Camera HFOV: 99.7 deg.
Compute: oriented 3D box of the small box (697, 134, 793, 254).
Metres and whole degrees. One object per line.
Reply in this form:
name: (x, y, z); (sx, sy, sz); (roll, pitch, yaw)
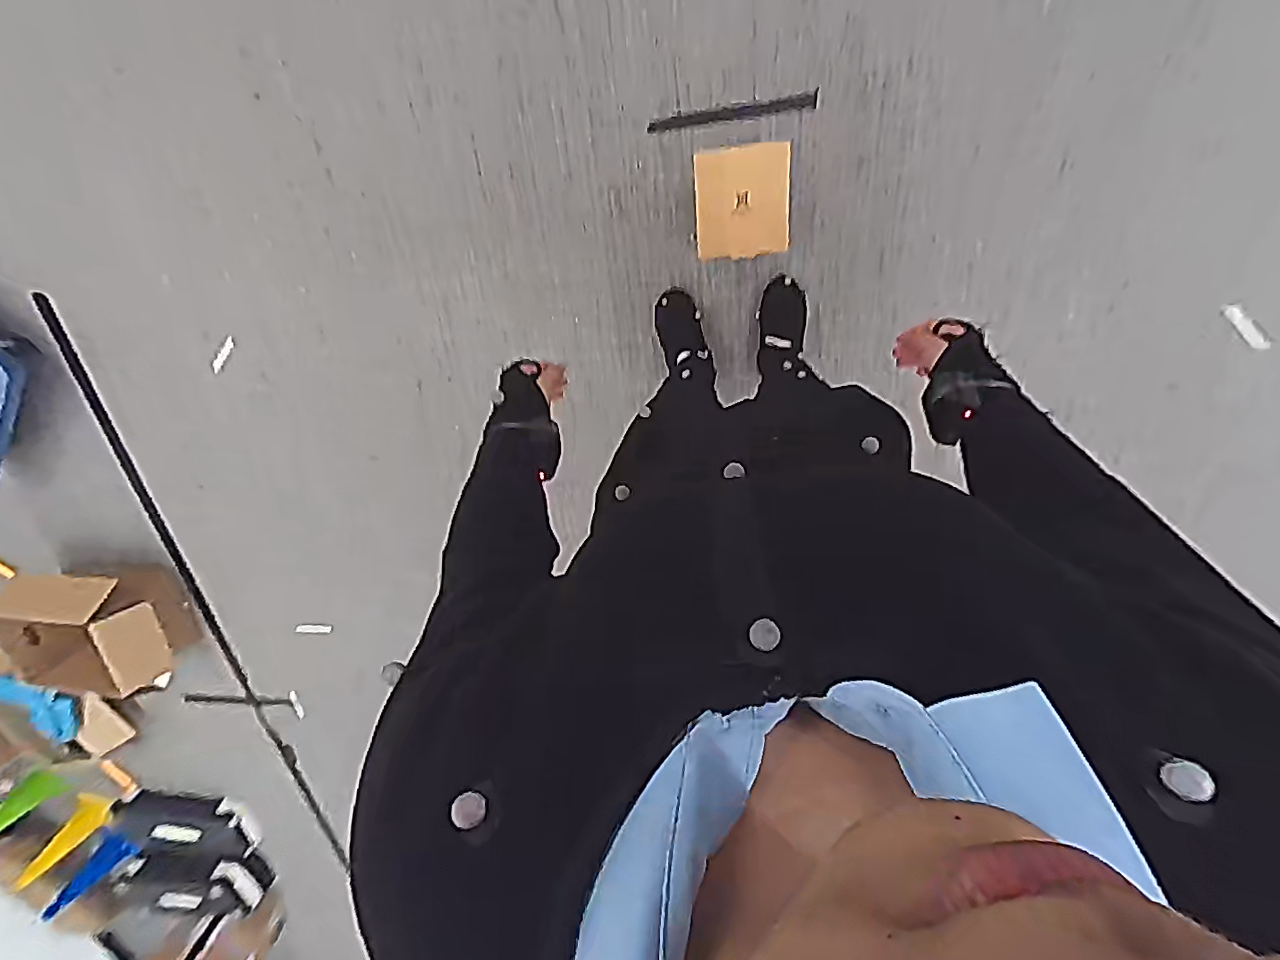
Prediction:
small box: (0.193, -0.531, 1.019); (0.168, 0.176, 0.179); (-2, 116, 10)
